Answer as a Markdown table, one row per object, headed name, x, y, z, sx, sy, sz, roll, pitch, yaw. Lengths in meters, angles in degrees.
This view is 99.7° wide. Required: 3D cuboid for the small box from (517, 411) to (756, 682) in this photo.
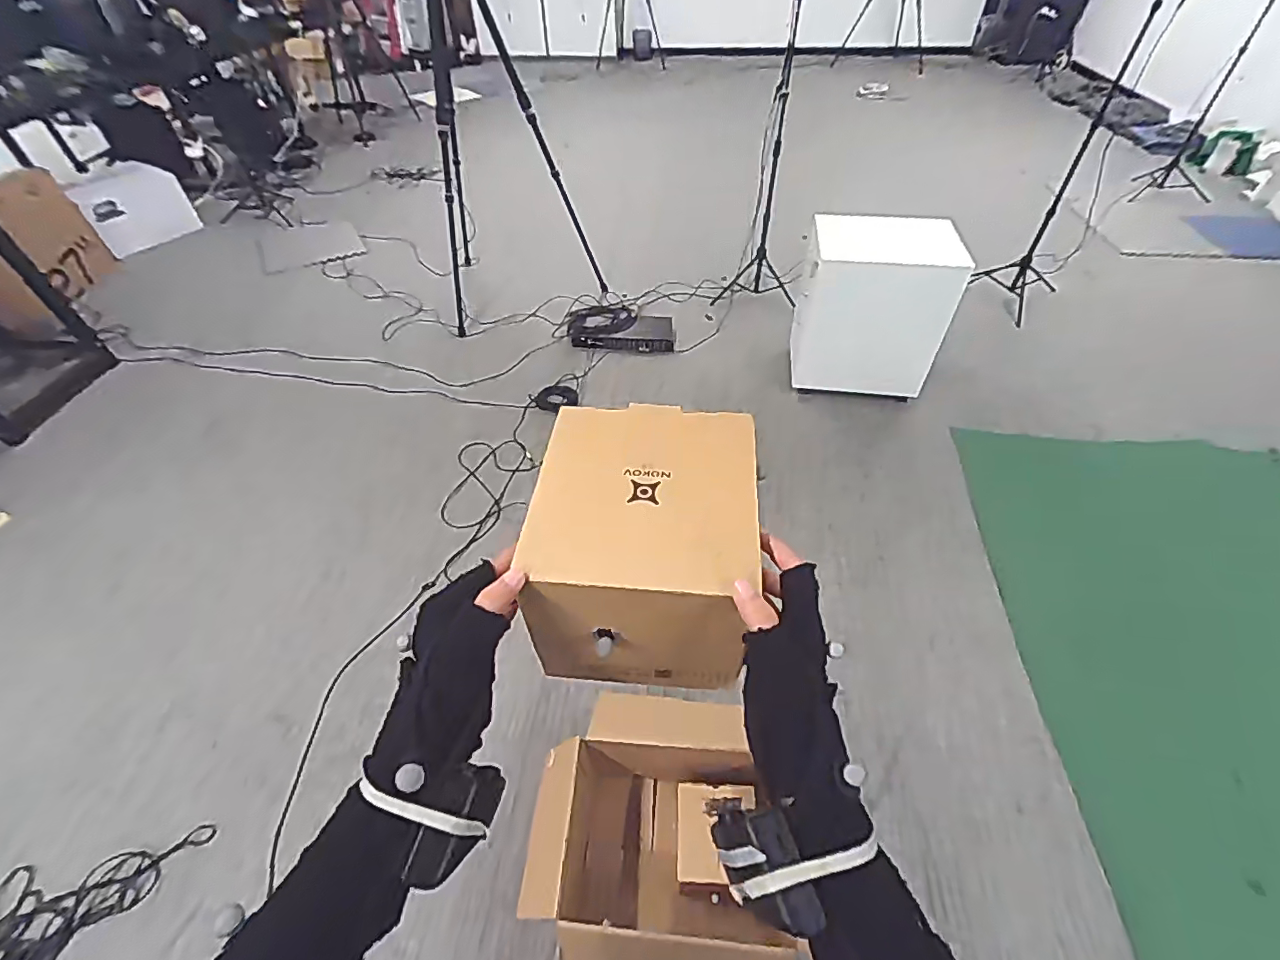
| name | x | y | z | sx | sy | sz | roll | pitch | yaw |
| --- | --- | --- | --- | --- | --- | --- | --- | --- | --- |
| small box | 0.007 | 0.061 | 0.472 | 0.168 | 0.176 | 0.179 | 2 | 49 | 4 |
